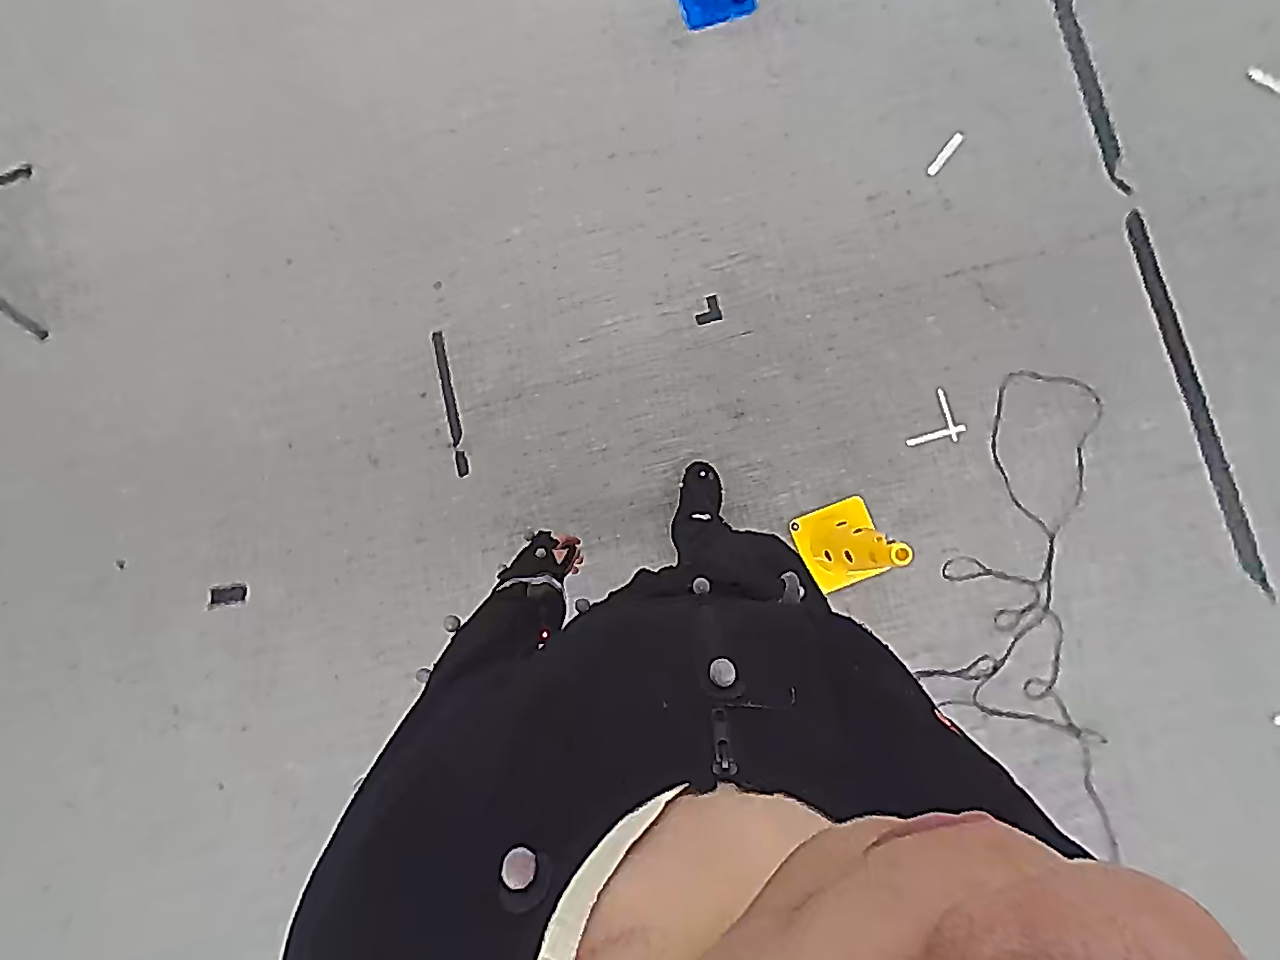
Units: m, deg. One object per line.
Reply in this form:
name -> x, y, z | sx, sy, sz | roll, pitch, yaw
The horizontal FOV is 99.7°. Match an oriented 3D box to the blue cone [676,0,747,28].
blue cone -> 0.176, -1.345, 1.305 | 0.192, 0.380, 0.193 | -14, 85, 2
